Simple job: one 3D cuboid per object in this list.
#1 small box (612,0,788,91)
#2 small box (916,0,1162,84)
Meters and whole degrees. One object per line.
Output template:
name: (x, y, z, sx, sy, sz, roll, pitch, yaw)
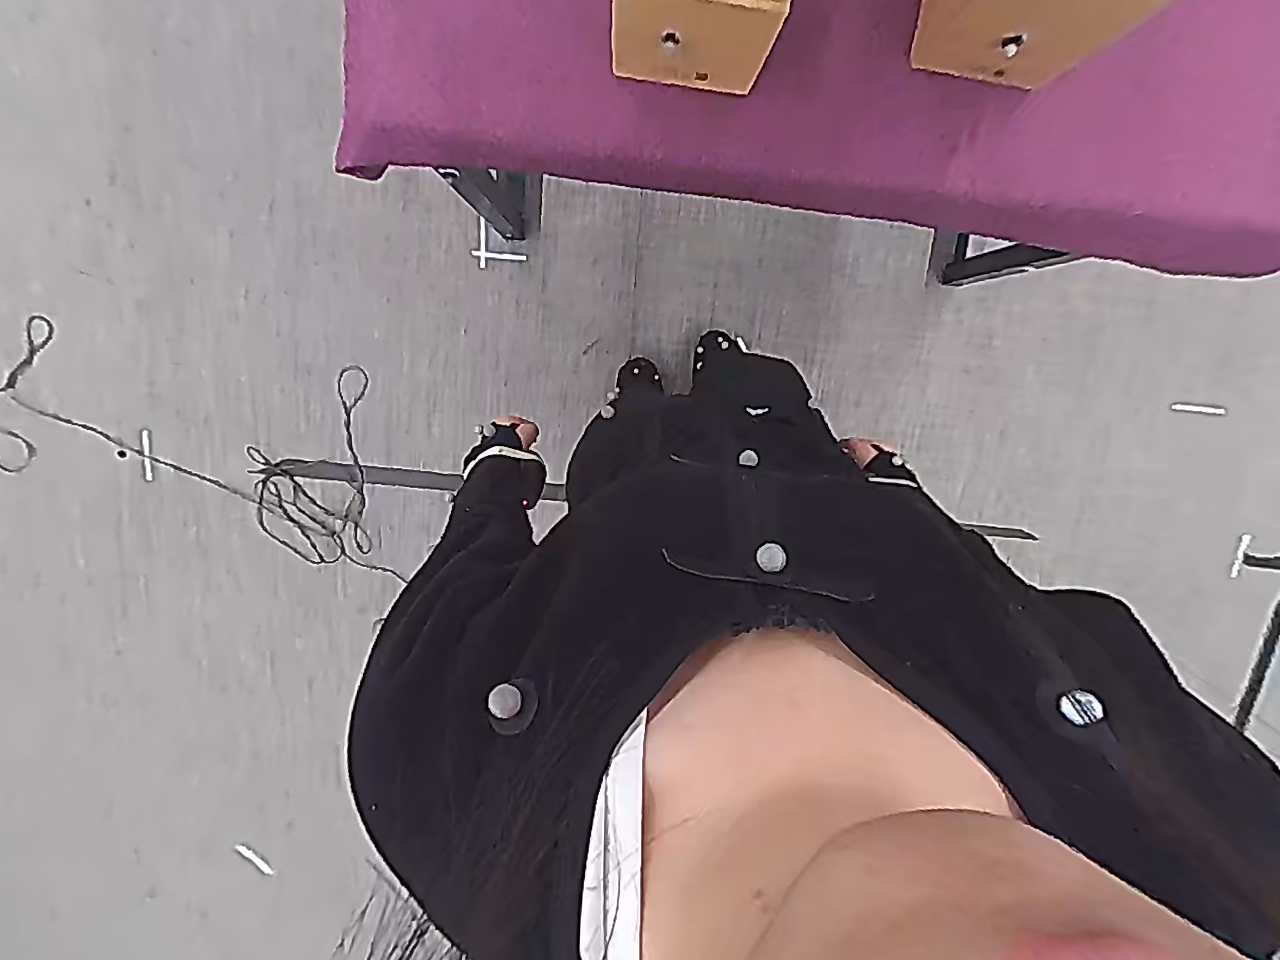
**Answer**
small box: (0.063, -0.539, 0.552, 0.168, 0.176, 0.179, 6, 101, -4)
small box: (0.419, -0.554, 0.561, 0.168, 0.176, 0.179, 8, 102, -4)
